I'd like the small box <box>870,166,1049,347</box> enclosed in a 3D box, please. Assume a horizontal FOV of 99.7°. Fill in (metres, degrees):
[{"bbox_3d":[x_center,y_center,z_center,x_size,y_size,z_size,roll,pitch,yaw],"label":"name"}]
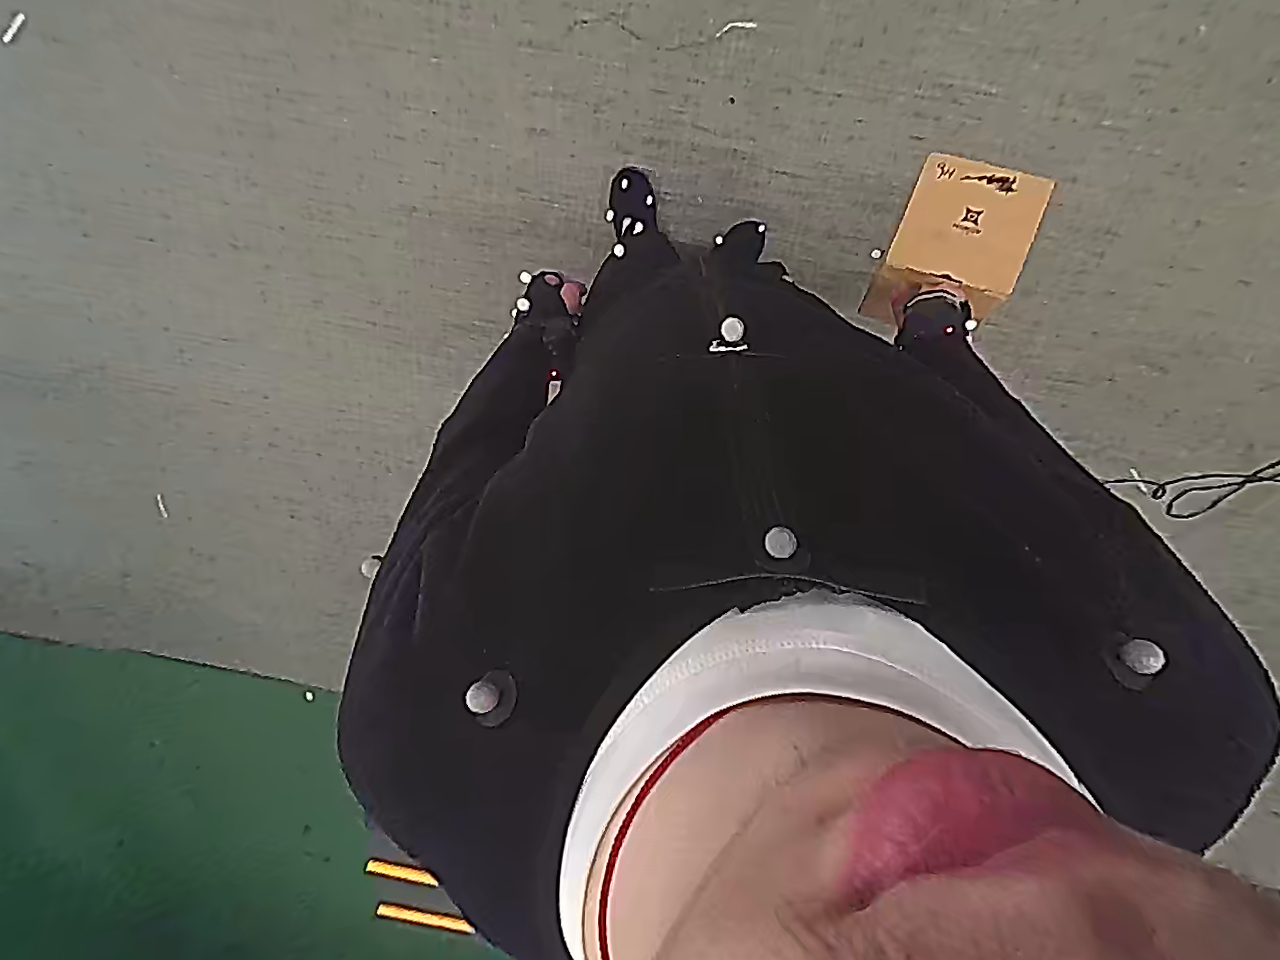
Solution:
[{"bbox_3d":[0.461,-0.324,0.812,0.168,0.176,0.179,20,85,15],"label":"small box"}]
